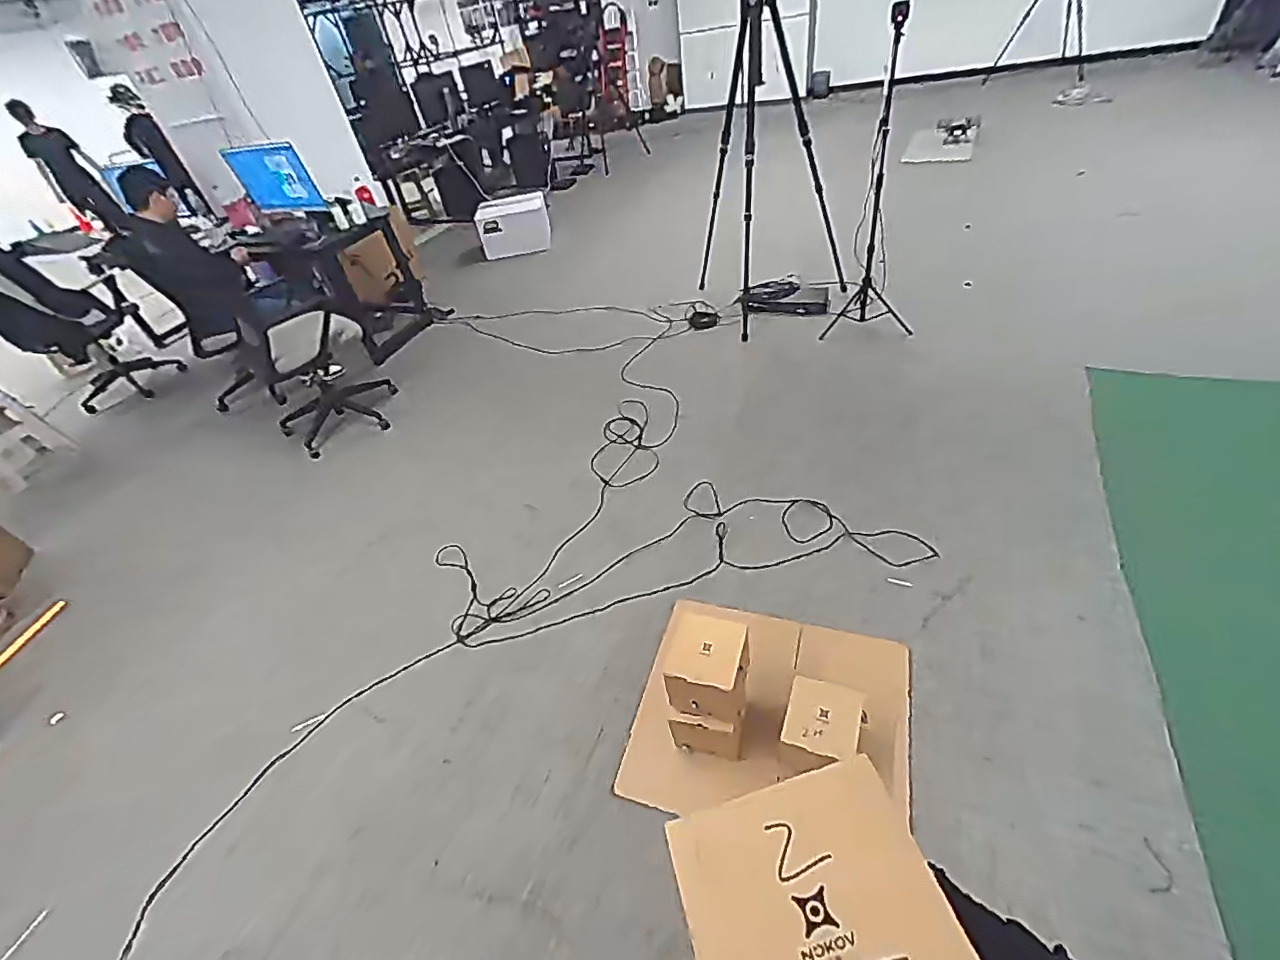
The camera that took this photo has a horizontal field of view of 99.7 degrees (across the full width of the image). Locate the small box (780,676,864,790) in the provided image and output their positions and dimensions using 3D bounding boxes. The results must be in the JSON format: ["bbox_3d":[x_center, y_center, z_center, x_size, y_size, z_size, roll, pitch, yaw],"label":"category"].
[{"bbox_3d":[0.446,0.623,1.336,0.168,0.176,0.179,10,46,24],"label":"small box"}]

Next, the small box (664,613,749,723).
[{"bbox_3d":[0.169,0.462,1.331,0.168,0.176,0.179,7,45,20],"label":"small box"}]

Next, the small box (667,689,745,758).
[{"bbox_3d":[0.181,0.601,1.420,0.168,0.176,0.179,5,44,19],"label":"small box"}]
